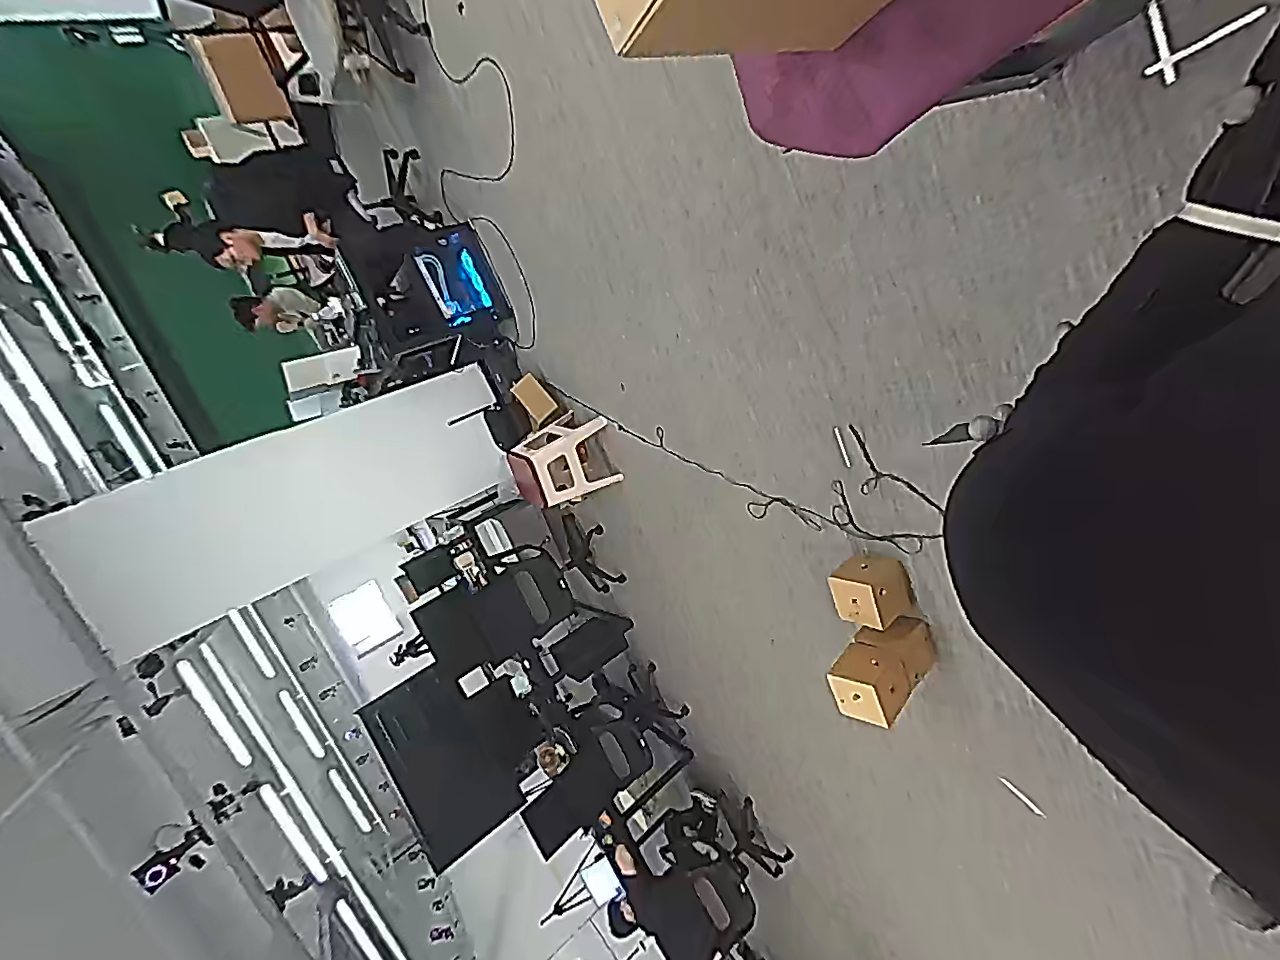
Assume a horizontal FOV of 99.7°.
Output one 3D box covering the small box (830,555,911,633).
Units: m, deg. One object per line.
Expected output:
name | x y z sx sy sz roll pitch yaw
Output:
small box | 0.768 0.369 1.793 0.168 0.176 0.179 4 120 57
